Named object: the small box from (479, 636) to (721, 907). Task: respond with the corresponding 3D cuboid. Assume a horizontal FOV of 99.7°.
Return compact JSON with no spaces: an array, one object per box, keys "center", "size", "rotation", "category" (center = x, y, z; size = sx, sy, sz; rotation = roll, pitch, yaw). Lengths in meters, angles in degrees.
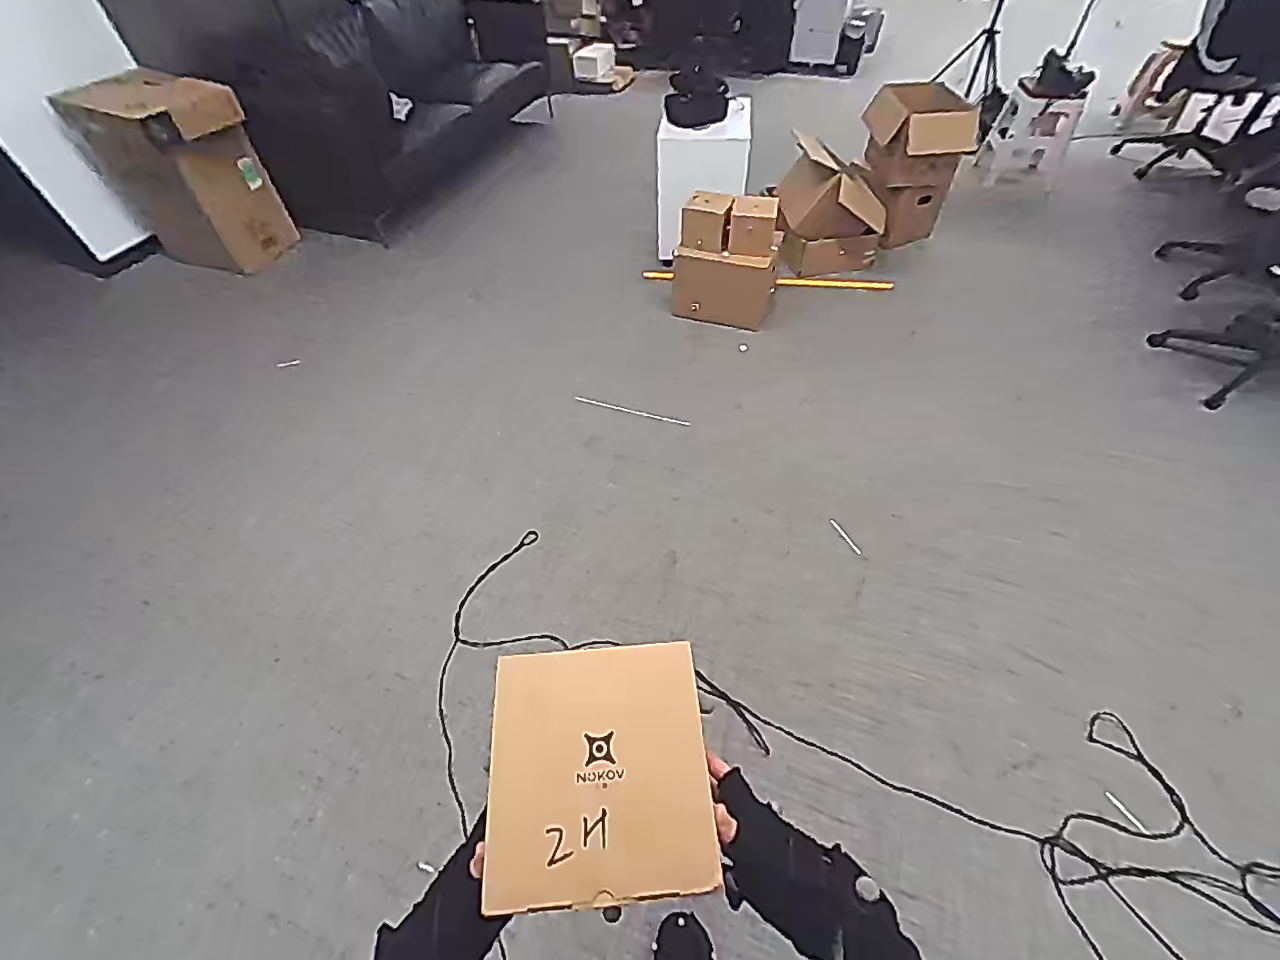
[{"center":[-0.032,0.254,0.473],"size":[0.168,0.176,0.179],"rotation":[-4,55,-2],"category":"small box"}]
